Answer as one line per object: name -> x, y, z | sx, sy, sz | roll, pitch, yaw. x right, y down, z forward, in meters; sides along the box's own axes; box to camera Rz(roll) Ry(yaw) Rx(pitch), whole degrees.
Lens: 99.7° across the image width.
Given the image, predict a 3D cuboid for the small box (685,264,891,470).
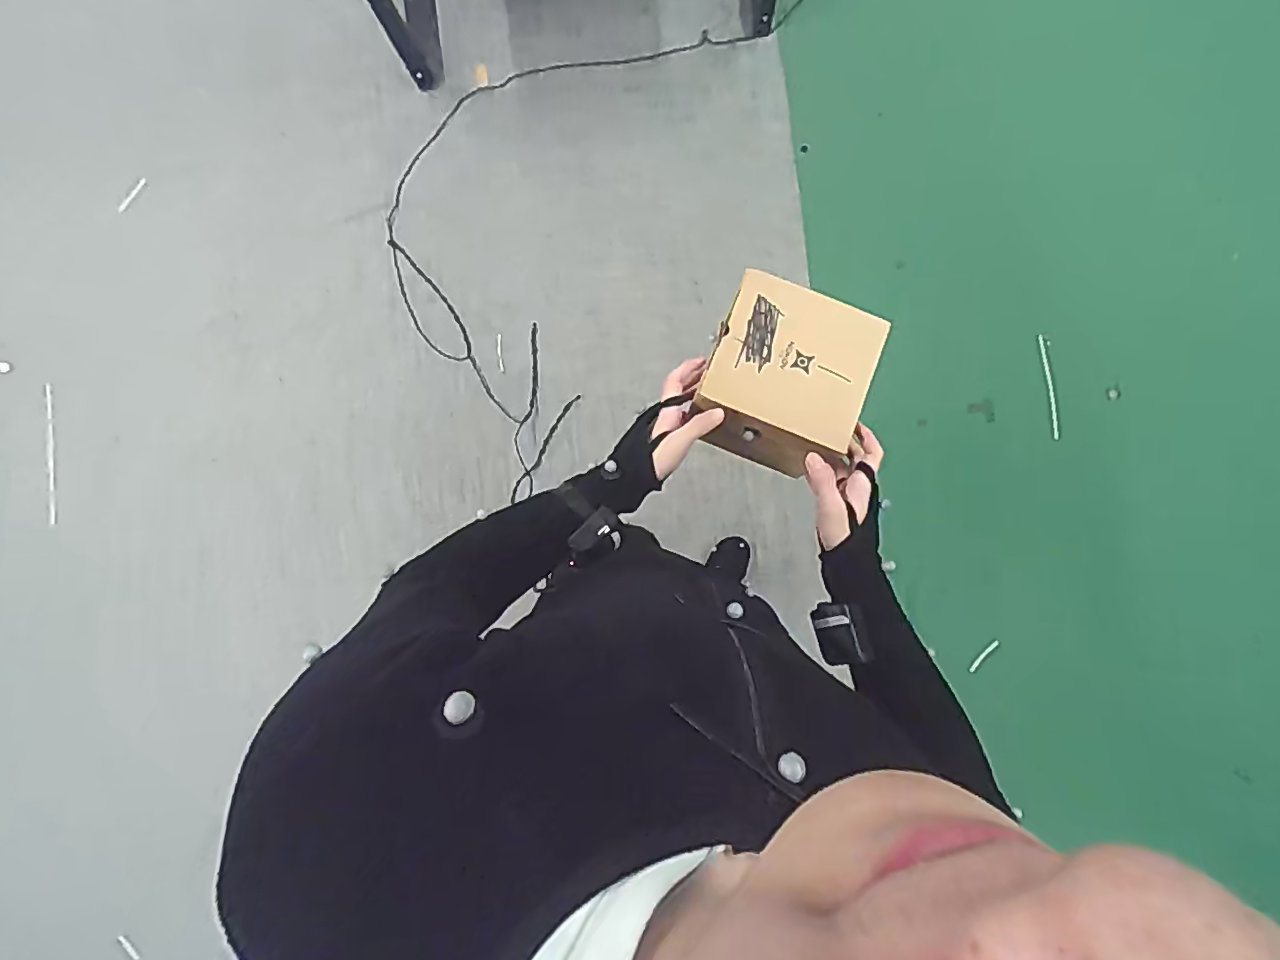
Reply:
small box -> 0.166, -0.123, 0.664 | 0.179, 0.176, 0.168 | 21, 80, 1
